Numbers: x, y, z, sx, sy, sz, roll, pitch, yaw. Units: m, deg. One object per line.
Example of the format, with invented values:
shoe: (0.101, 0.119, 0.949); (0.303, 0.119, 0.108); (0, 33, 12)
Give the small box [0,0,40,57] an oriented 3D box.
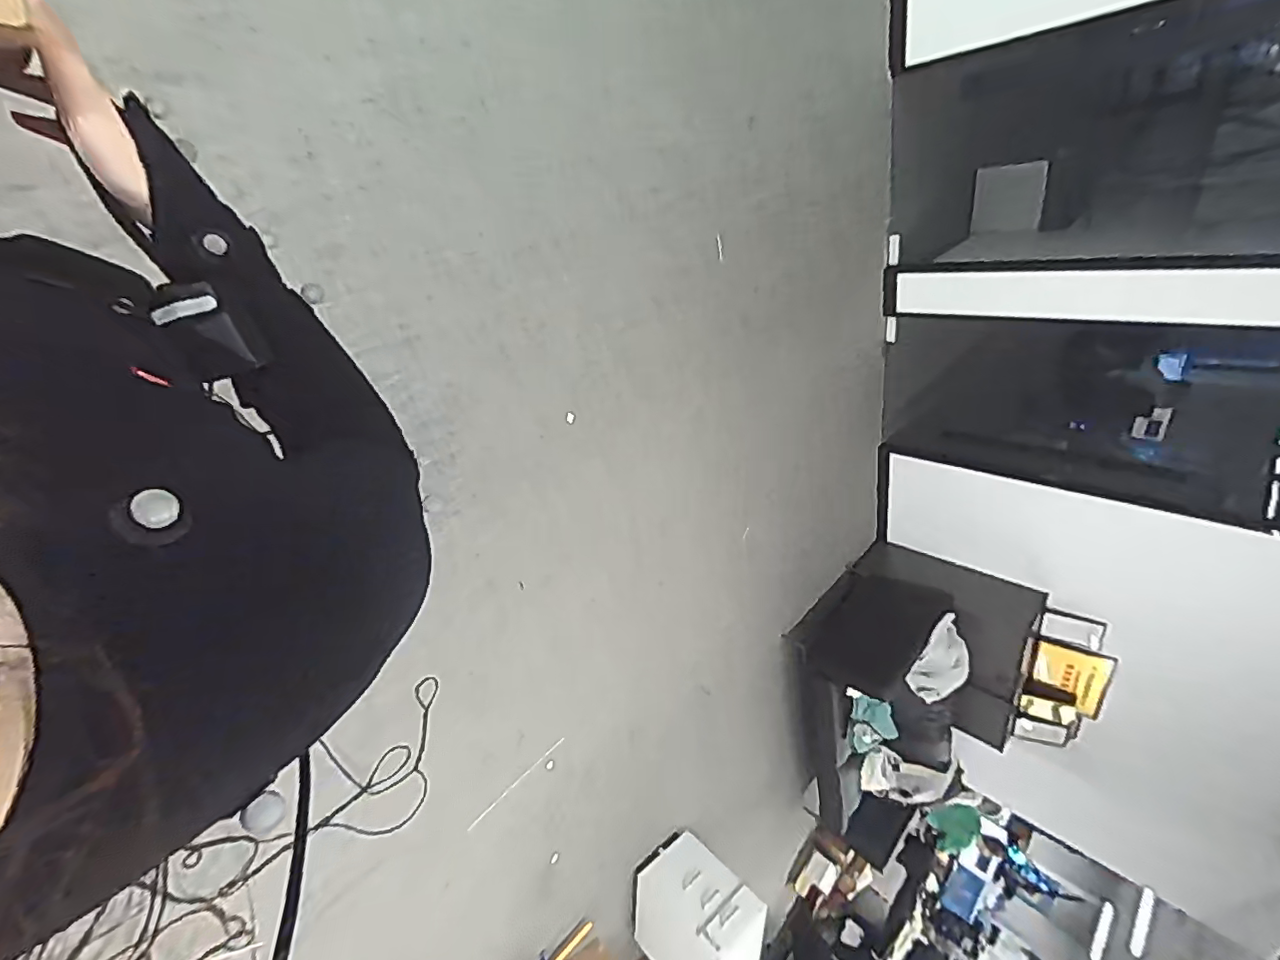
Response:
small box: (-0.396, -0.293, 0.213); (0.179, 0.176, 0.168); (-20, 124, -44)
